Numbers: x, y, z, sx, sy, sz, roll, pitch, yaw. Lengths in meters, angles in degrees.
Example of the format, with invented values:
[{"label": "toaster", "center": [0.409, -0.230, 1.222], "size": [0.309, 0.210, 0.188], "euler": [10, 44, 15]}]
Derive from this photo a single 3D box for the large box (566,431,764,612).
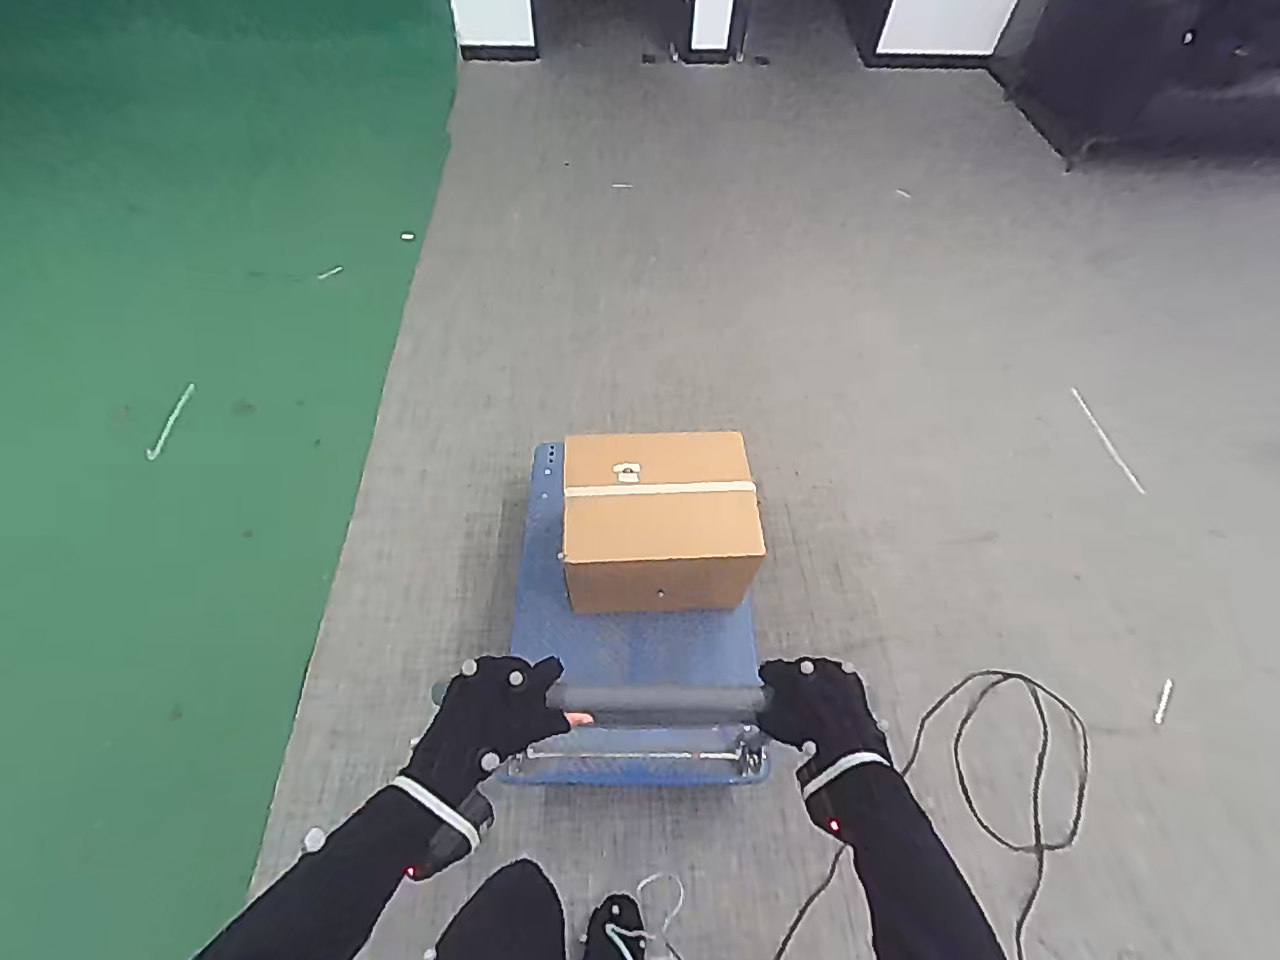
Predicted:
[{"label": "large box", "center": [0.041, 0.108, 1.285], "size": [0.408, 0.320, 0.320], "euler": [-3, 57, -3]}]
